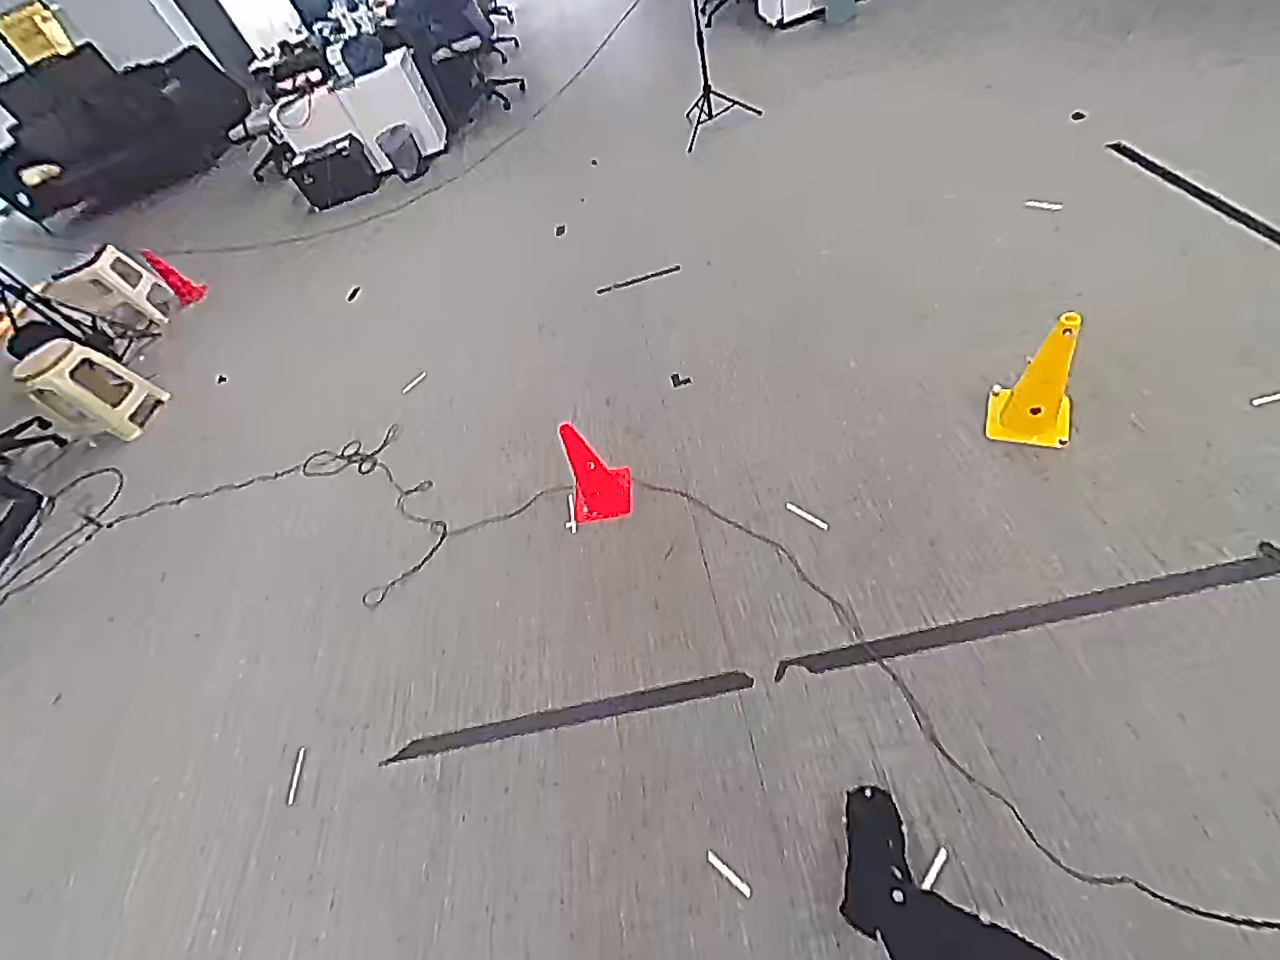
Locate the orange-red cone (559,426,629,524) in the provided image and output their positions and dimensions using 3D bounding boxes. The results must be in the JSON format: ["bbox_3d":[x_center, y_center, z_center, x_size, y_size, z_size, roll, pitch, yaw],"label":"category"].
[{"bbox_3d":[-0.172,-0.042,1.685,0.199,0.360,0.198,-9,53,10],"label":"orange-red cone"}]
